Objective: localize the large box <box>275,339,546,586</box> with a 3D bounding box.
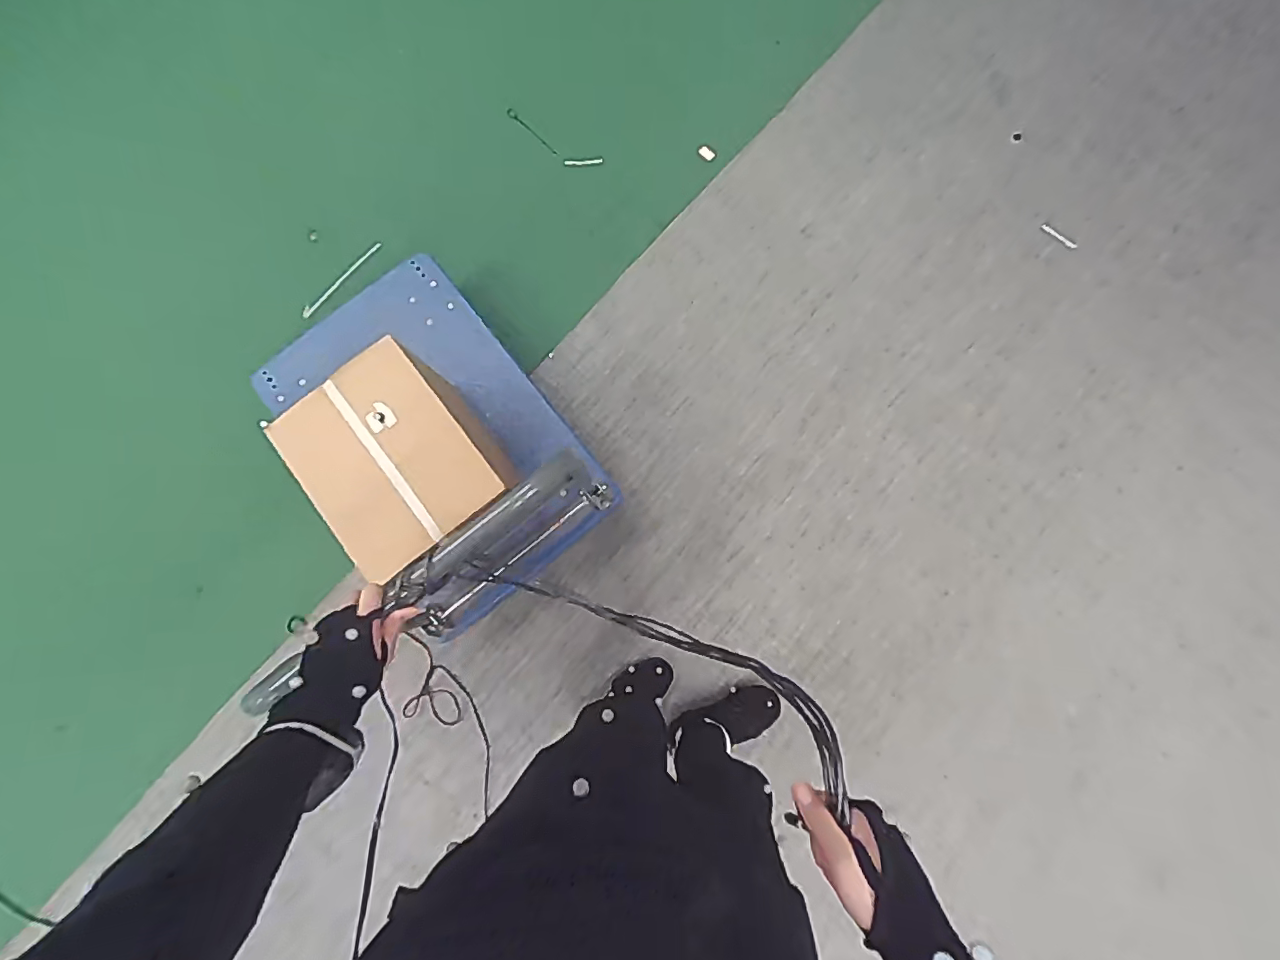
[{"bbox_3d":[-0.475,-0.019,1.195,0.320,0.320,0.408,-39,80,-3],"label":"large box"}]
